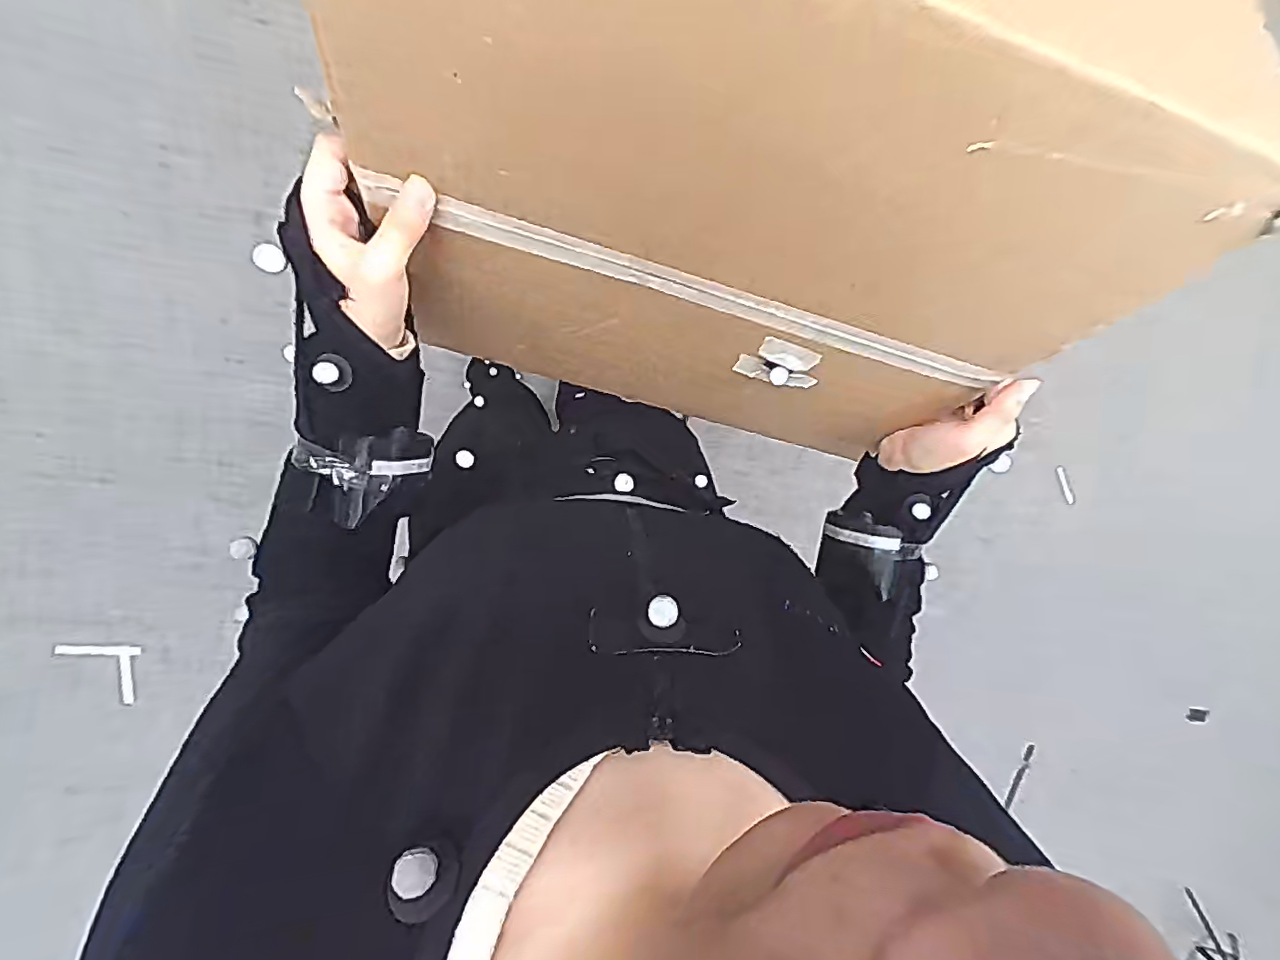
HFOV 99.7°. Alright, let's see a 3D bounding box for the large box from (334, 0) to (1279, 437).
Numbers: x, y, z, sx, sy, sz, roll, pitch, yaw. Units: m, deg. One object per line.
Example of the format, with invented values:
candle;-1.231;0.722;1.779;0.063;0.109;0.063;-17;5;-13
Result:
large box;0.075;-0.265;0.353;0.408;0.320;0.320;13;70;-10
